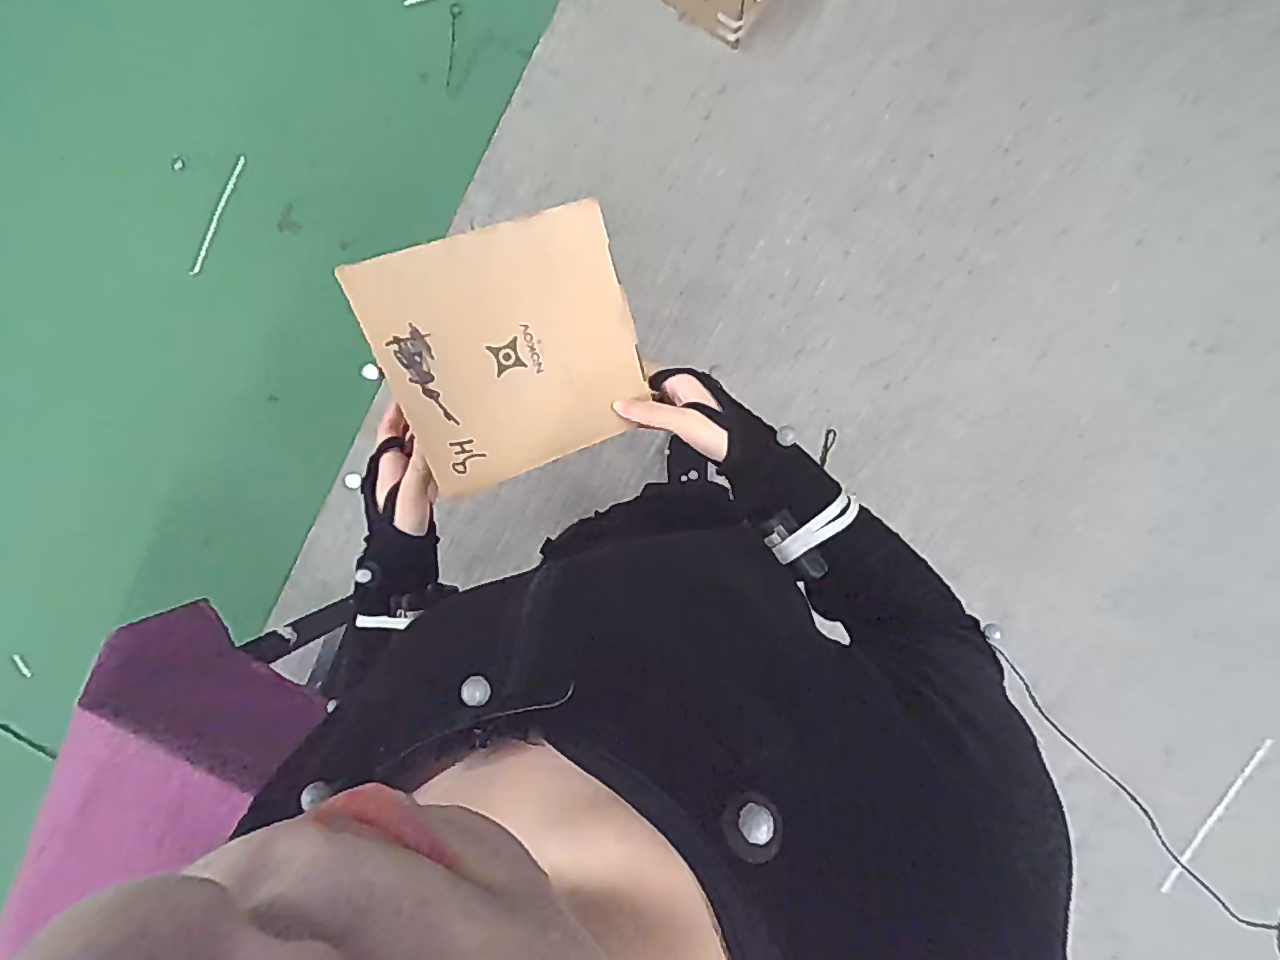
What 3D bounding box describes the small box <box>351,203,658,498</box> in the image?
[{"bbox_3d":[-0.111,-0.113,0.448,0.179,0.176,0.168,-23,115,-15],"label":"small box"}]
